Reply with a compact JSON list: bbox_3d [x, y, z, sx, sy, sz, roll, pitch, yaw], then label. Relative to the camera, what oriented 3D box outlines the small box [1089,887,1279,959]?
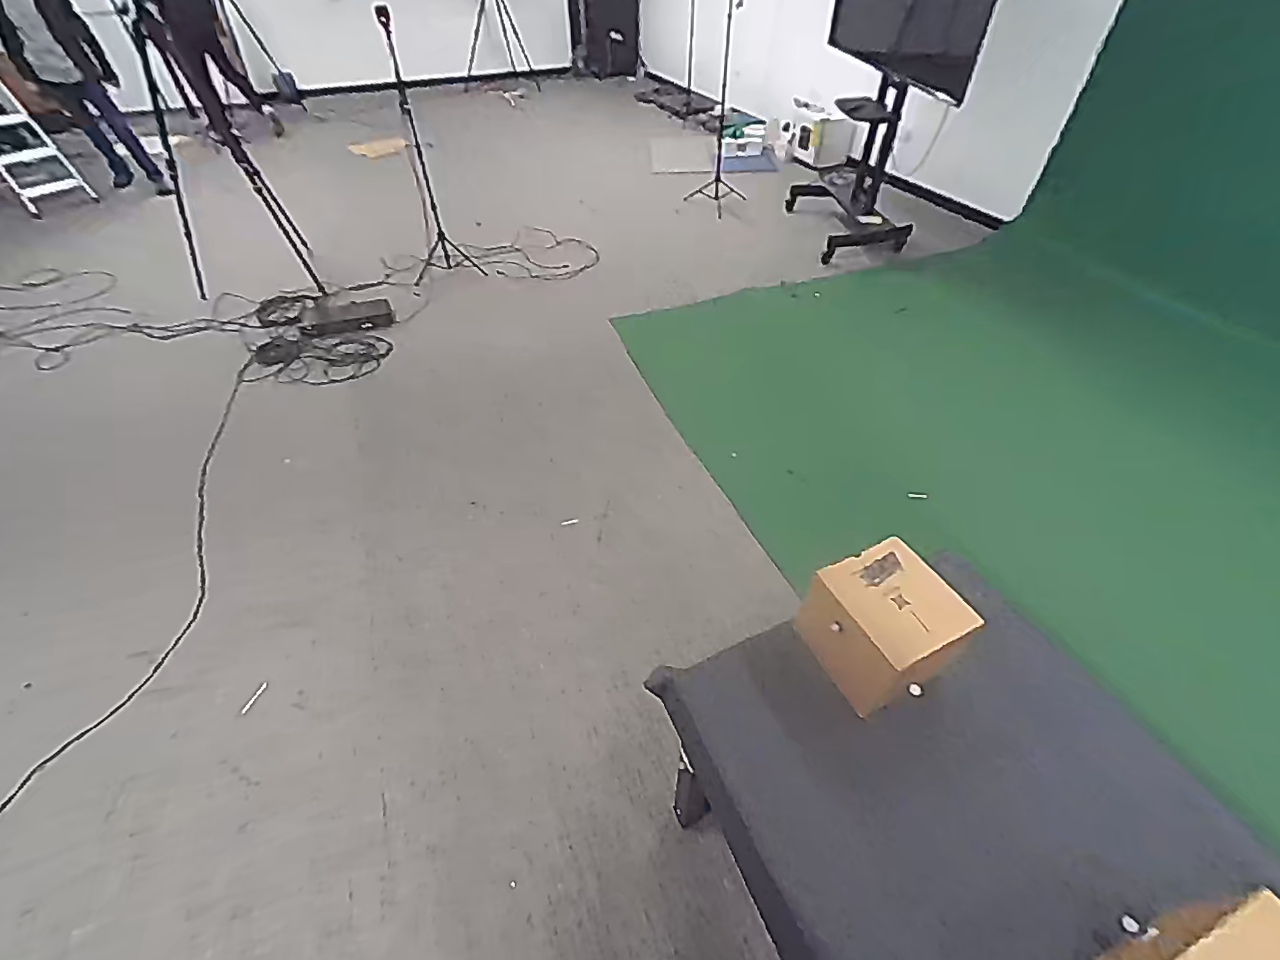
[{"bbox_3d":[0.600,0.553,0.535,0.168,0.176,0.179,-16,46,-19],"label":"small box"}]

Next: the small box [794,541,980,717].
[{"bbox_3d":[0.369,0.233,0.848,0.168,0.176,0.179,-19,49,-20],"label":"small box"}]
